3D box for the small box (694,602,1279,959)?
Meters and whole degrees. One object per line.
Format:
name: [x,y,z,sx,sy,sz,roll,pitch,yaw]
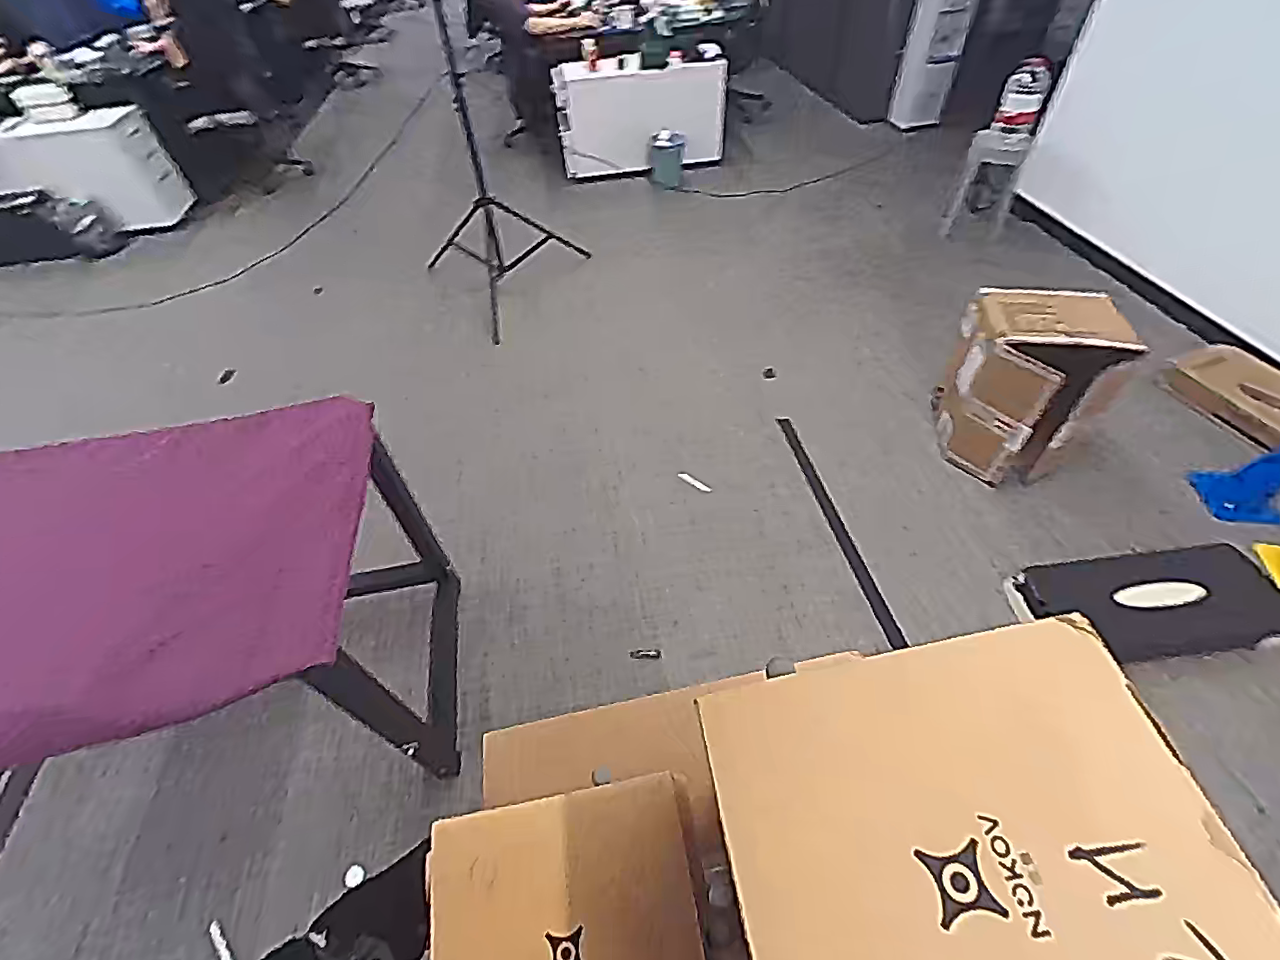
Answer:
small box: [0.133,0.180,0.254,0.179,0.176,0.168,-13,56,2]
